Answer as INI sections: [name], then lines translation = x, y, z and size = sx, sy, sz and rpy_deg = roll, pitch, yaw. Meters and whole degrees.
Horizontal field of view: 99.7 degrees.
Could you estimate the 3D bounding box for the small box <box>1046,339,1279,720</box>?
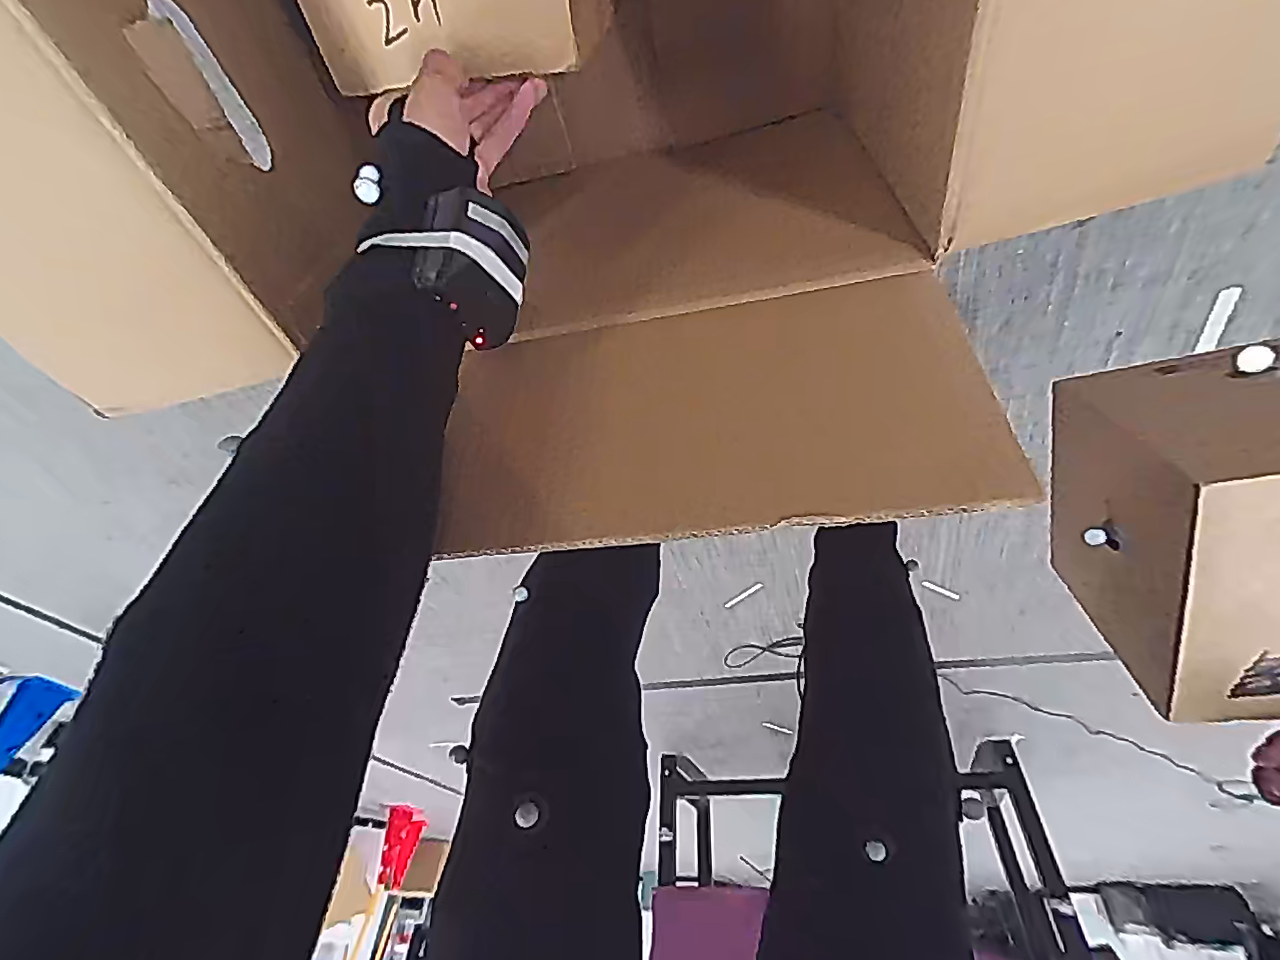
[small box]
translation = 0.392, 0.025, 0.347
size = 0.168, 0.176, 0.179
rpy_deg = -10, 114, 18
